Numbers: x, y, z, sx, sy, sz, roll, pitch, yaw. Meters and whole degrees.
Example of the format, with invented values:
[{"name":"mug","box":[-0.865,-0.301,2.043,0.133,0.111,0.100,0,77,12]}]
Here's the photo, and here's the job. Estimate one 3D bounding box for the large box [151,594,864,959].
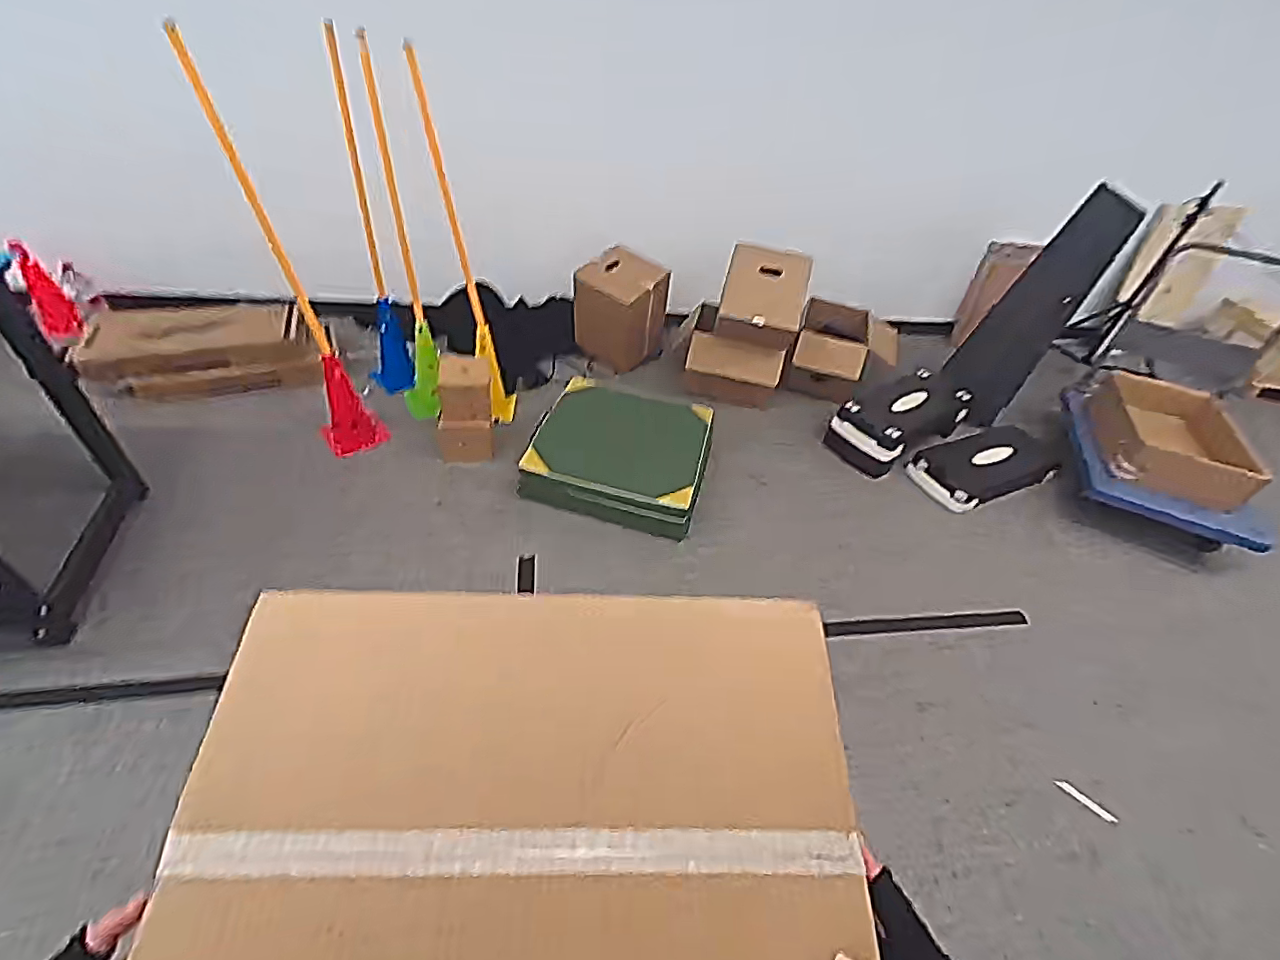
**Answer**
[{"name":"large box","box":[-0.076,0.296,0.458,0.408,0.320,0.320,1,60,-1]}]
